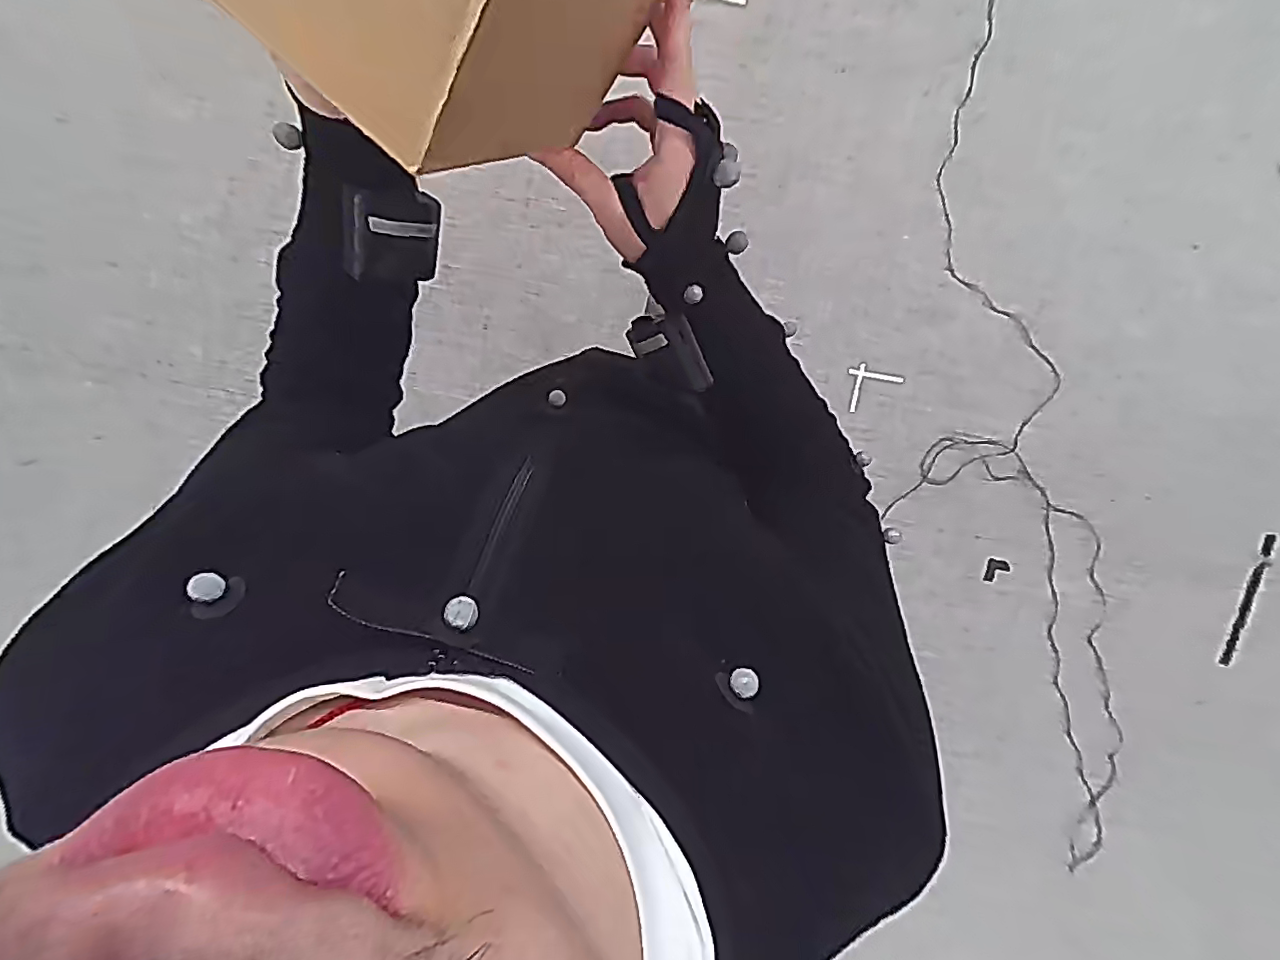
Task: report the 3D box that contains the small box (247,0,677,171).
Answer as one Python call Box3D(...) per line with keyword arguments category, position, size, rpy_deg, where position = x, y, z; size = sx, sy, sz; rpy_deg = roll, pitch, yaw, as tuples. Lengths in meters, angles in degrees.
Box3D(category="small box", position=(-0.063, -0.257, 0.203), size=(0.168, 0.176, 0.179), rpy_deg=(40, 127, -10))
